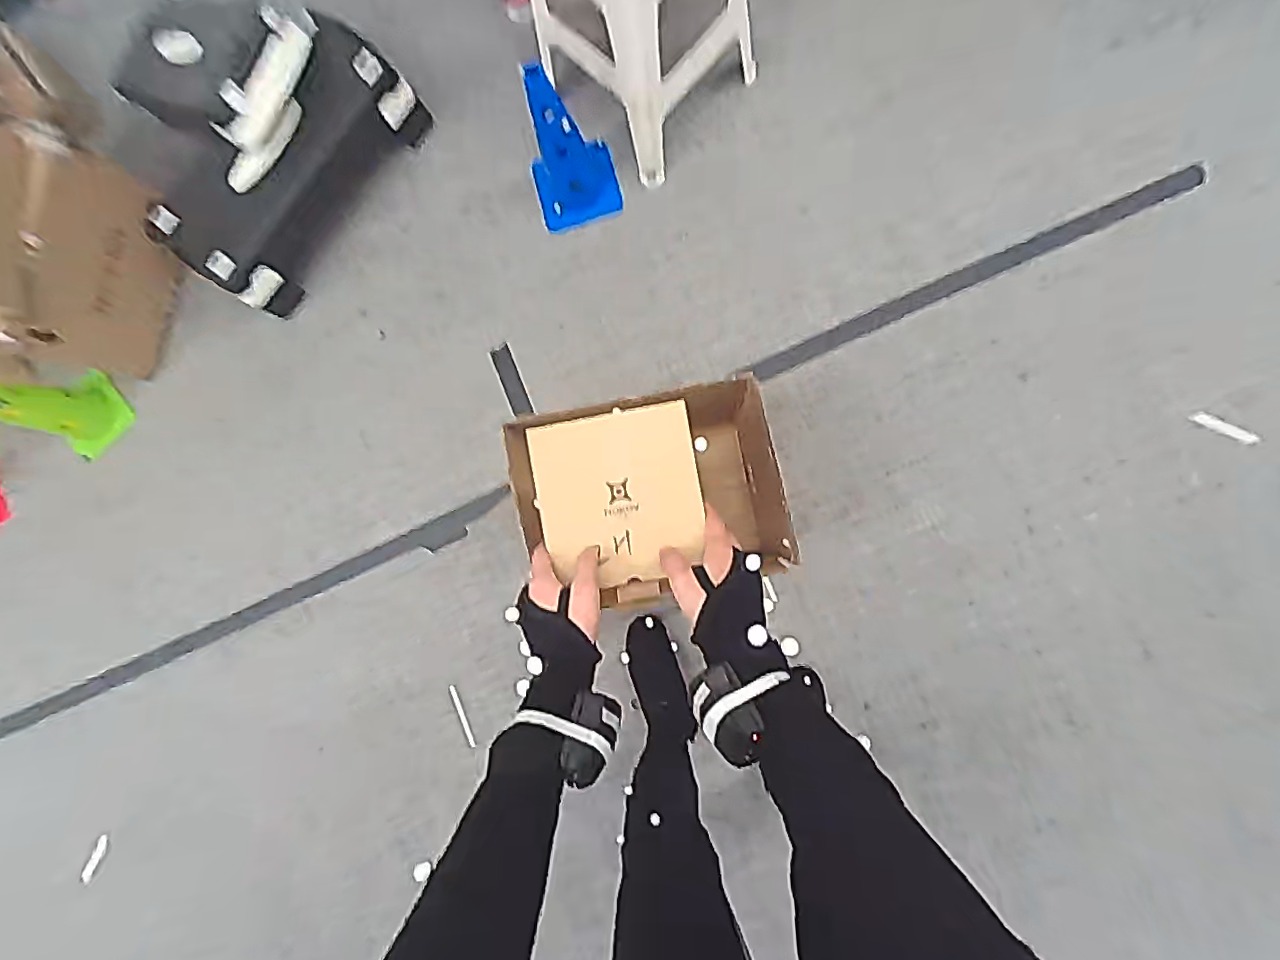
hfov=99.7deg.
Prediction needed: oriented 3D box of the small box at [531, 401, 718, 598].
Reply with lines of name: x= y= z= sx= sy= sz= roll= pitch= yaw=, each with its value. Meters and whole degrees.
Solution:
small box: x=-0.012 y=0.020 z=0.610 sx=0.168 sy=0.176 sz=0.179 roll=-10 pitch=90 yaw=4
